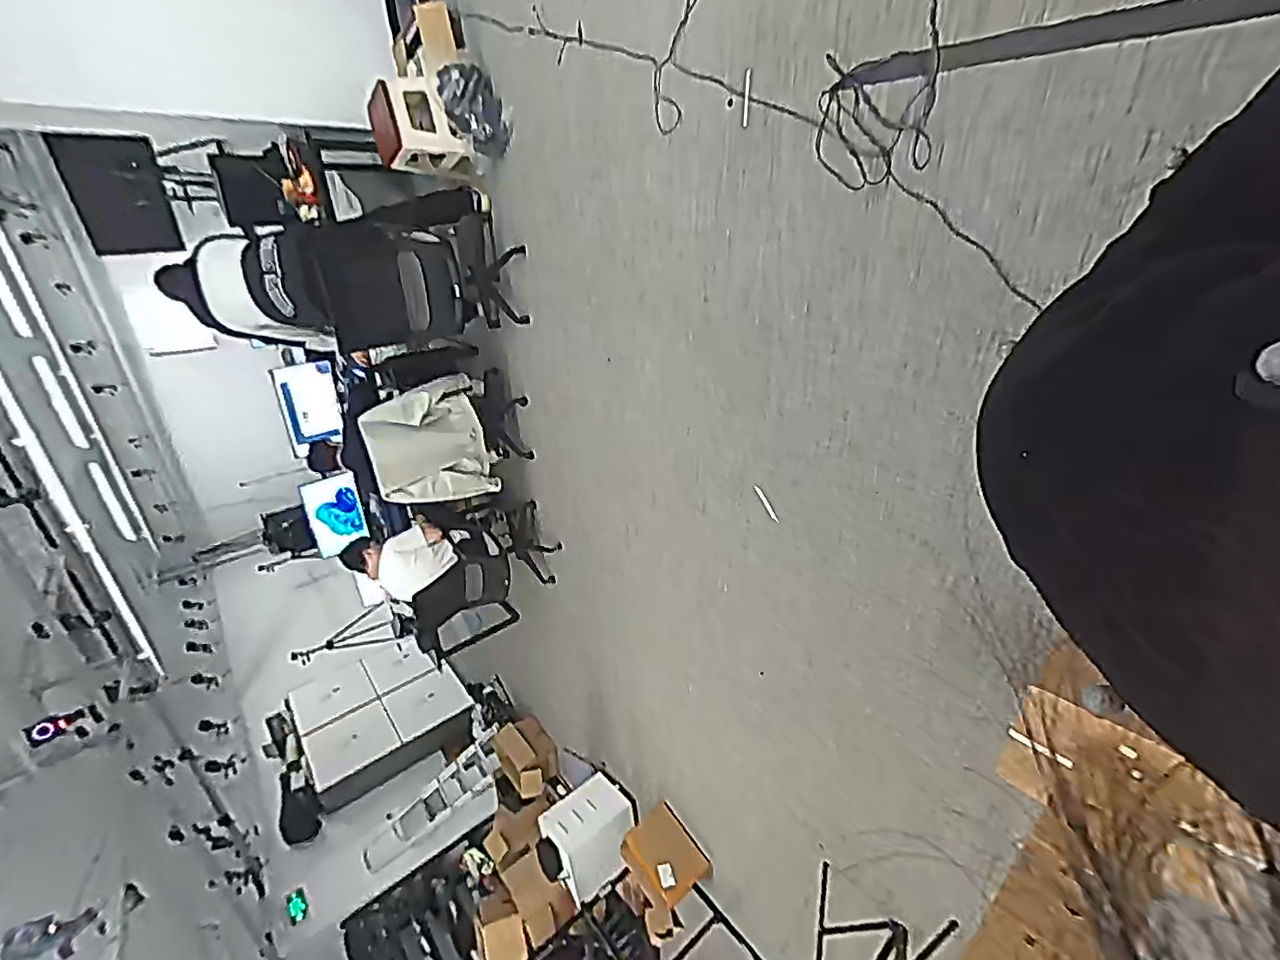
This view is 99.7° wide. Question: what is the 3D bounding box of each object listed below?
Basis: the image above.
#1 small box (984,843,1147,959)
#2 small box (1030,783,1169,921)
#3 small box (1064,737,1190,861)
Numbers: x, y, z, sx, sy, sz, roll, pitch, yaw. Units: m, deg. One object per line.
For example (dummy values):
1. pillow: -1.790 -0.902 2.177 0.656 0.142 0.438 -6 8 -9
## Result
1. small box: 0.698 0.757 0.890 0.168 0.176 0.179 18 121 50
2. small box: 0.821 0.704 0.985 0.168 0.176 0.179 23 126 47
3. small box: 0.948 0.662 1.076 0.168 0.176 0.179 23 125 45
